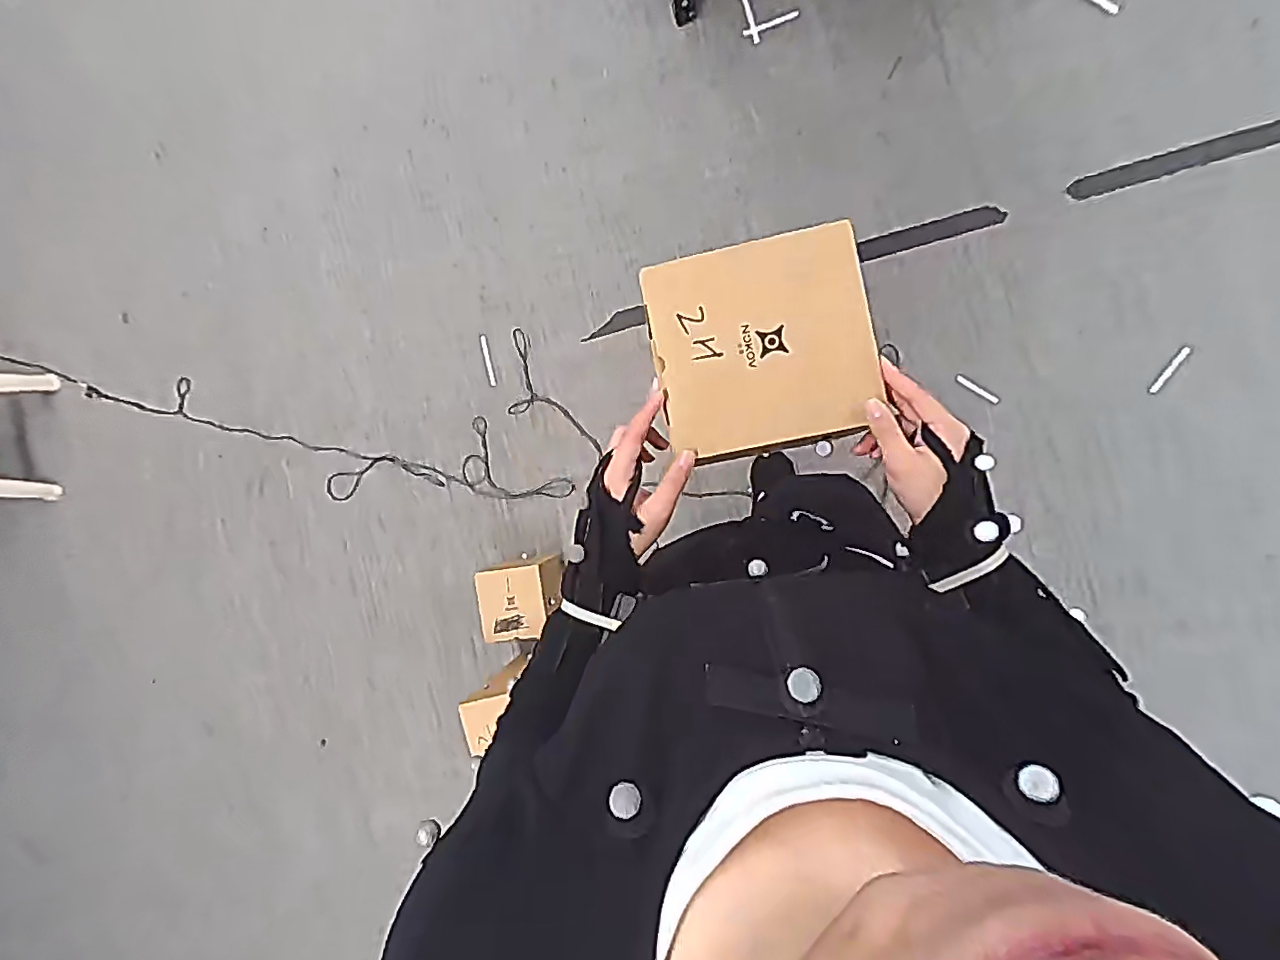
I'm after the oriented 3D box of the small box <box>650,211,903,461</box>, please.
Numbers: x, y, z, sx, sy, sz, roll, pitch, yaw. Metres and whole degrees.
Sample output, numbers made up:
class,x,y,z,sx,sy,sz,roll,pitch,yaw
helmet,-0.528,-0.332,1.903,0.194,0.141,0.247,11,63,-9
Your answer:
class,x,y,z,sx,sy,sz,roll,pitch,yaw
small box,0.114,-0.114,0.505,0.179,0.176,0.168,-11,88,7

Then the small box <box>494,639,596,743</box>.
class,x,y,z,sx,sy,sz,roll,pitch,yaw
small box,-0.232,0.521,1.356,0.179,0.176,0.168,-21,88,8

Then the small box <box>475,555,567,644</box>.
class,x,y,z,sx,sy,sz,roll,pitch,yaw
small box,-0.291,0.295,1.357,0.168,0.176,0.179,-9,90,9
